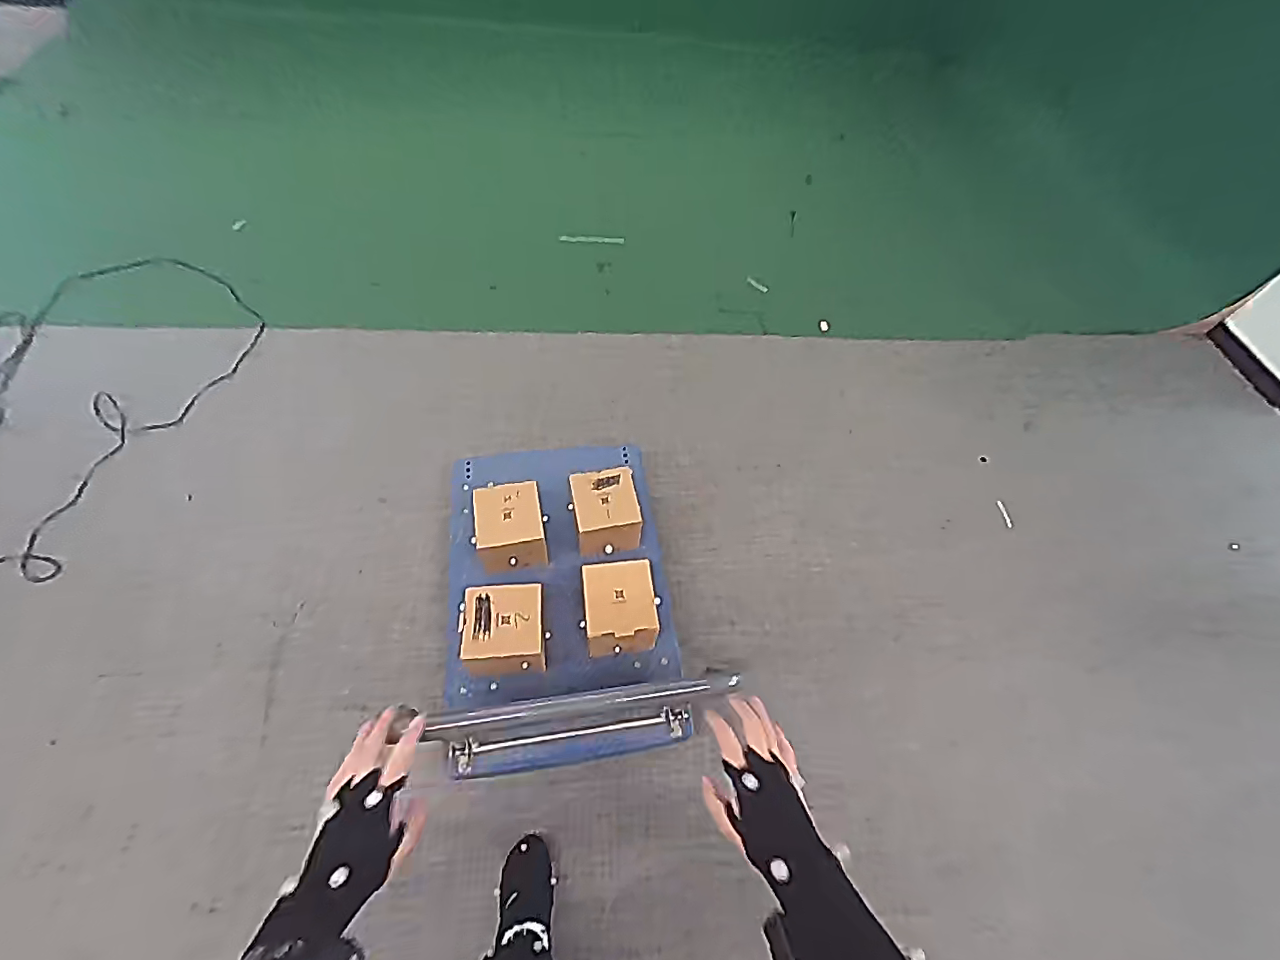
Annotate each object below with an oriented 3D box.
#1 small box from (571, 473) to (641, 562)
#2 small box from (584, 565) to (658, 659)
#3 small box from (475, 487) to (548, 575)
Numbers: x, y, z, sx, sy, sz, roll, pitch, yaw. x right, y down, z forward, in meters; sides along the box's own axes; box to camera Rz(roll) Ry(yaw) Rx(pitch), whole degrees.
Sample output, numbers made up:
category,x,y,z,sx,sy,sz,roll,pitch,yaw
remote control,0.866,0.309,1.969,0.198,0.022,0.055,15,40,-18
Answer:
category,x,y,z,sx,sy,sz,roll,pitch,yaw
small box,-0.097,0.106,1.501,0.168,0.176,0.179,-9,59,-9
small box,-0.055,0.332,1.358,0.168,0.176,0.179,-4,58,-8
small box,-0.342,0.145,1.456,0.168,0.176,0.179,-8,58,-11
